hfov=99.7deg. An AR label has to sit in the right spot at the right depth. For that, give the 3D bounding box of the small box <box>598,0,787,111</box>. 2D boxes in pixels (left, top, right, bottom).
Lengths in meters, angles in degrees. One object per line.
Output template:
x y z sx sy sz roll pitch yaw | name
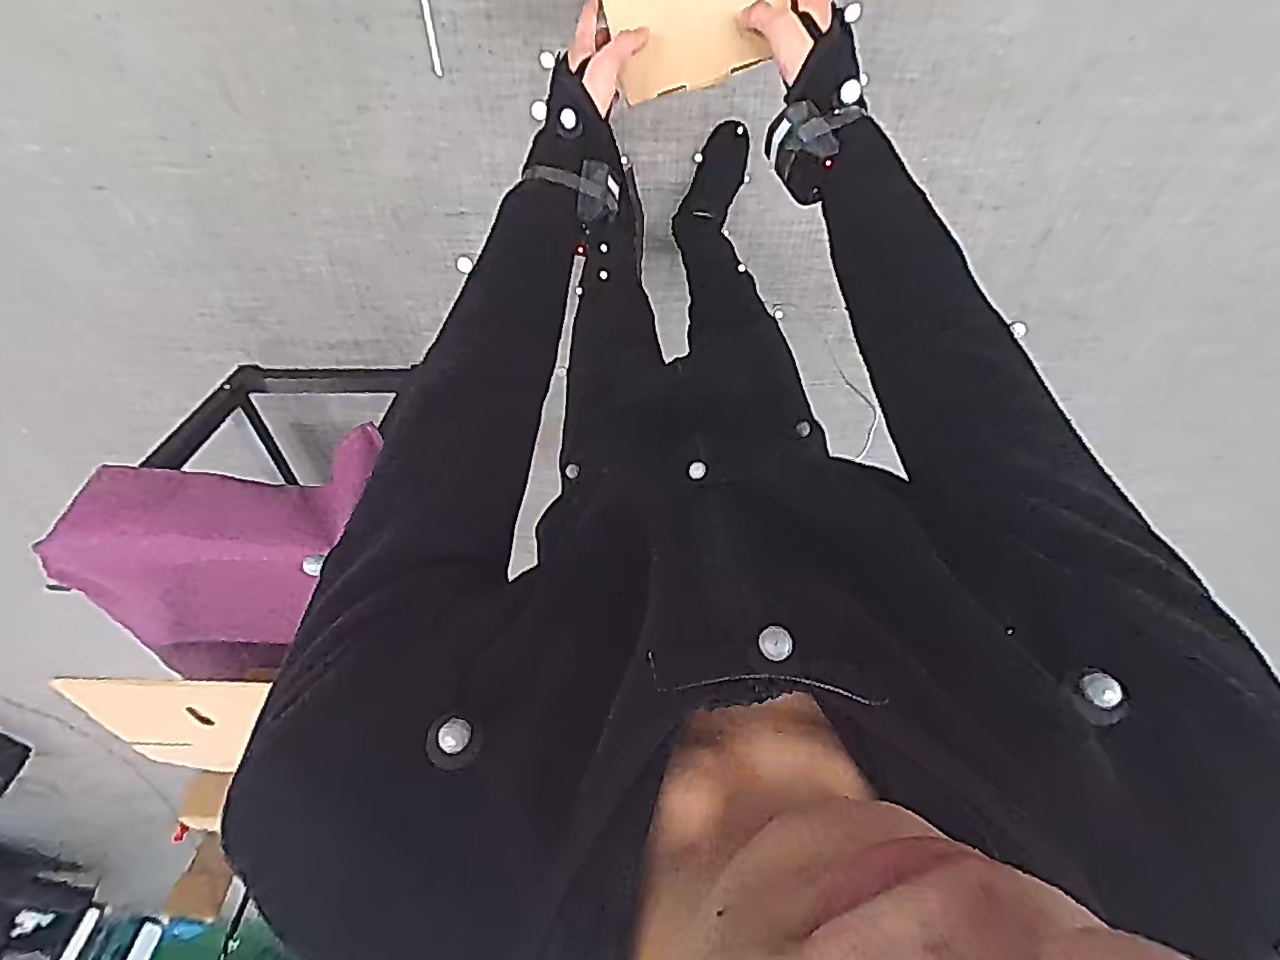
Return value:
0.041 -0.501 0.530 0.168 0.176 0.179 -12 133 10 | small box
